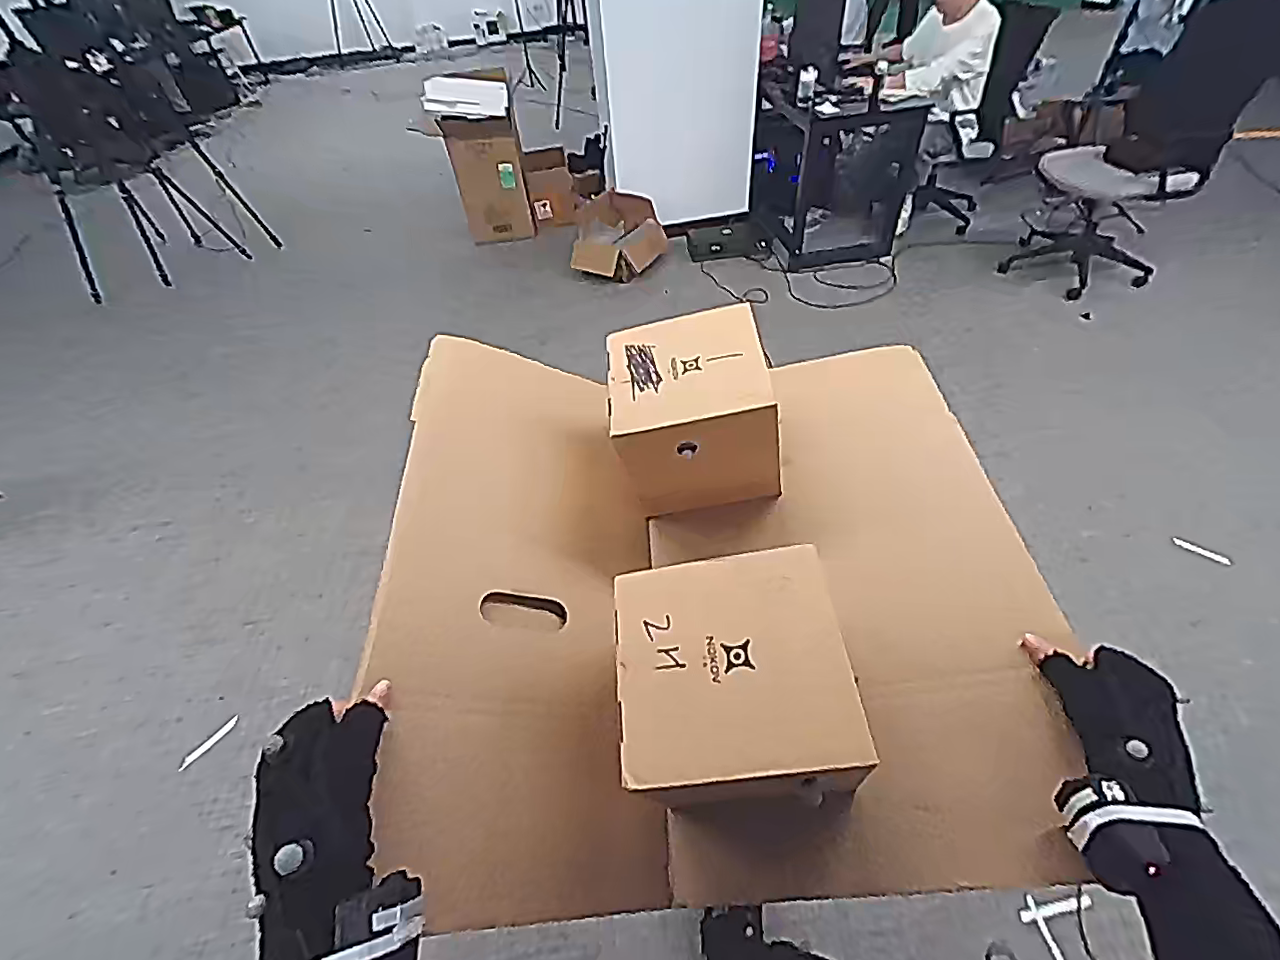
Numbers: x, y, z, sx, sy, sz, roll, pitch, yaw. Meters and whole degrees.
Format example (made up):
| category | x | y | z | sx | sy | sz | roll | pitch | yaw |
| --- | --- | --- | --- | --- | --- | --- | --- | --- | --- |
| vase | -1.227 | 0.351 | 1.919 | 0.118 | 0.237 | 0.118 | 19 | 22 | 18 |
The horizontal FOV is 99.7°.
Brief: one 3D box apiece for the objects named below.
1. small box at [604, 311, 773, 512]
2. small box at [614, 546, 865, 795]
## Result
| category | x | y | z | sx | sy | sz | roll | pitch | yaw |
| --- | --- | --- | --- | --- | --- | --- | --- | --- | --- |
| small box | 0.062 | -0.076 | 0.675 | 0.179 | 0.176 | 0.168 | -11 | 54 | 8 |
| small box | 0.084 | 0.180 | 0.490 | 0.179 | 0.176 | 0.168 | -11 | 54 | 10 |
